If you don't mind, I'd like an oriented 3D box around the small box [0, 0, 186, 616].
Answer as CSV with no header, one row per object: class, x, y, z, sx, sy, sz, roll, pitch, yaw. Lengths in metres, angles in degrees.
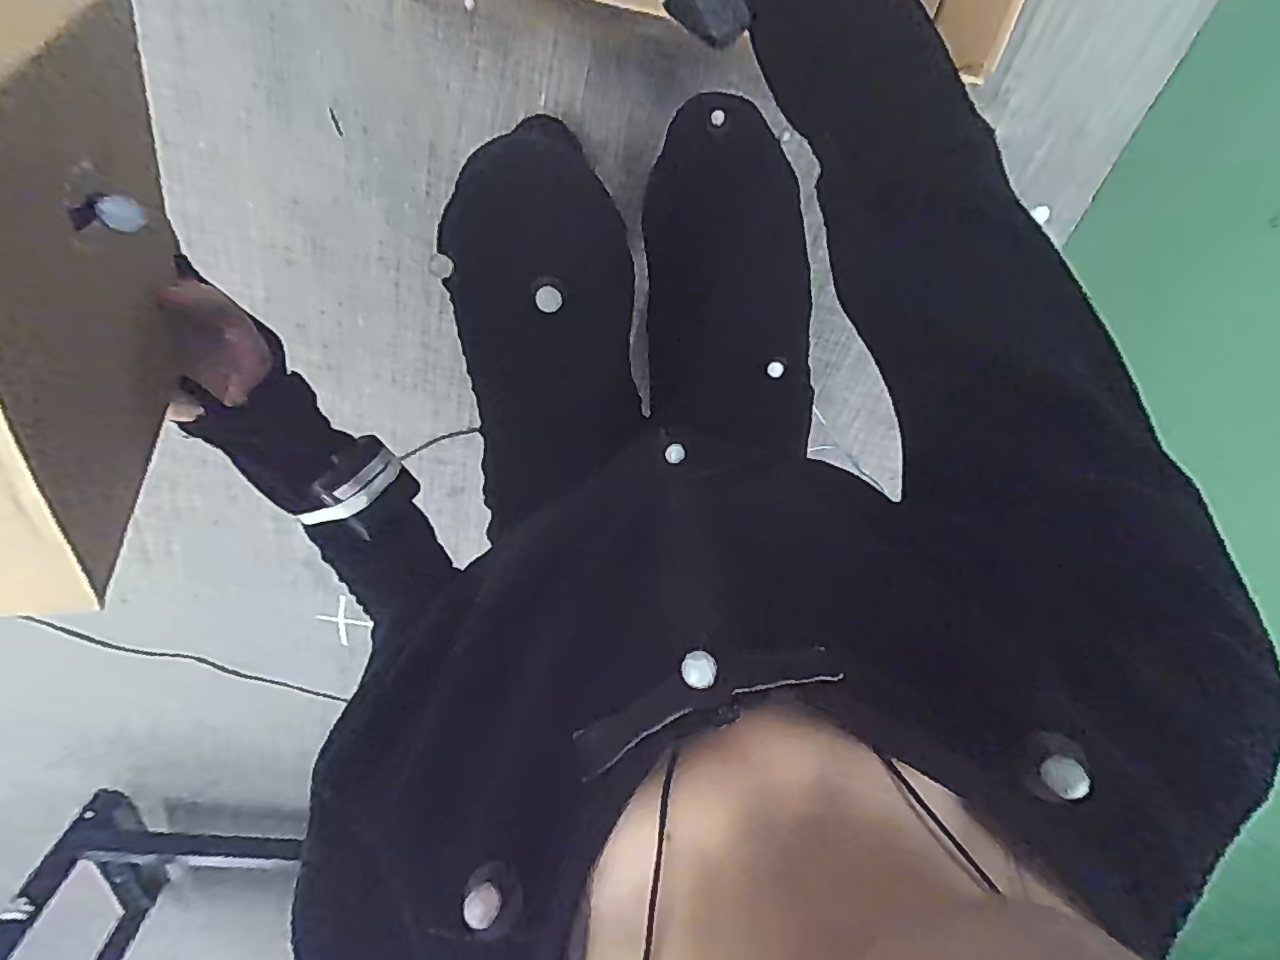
small box,-0.276,-0.069,0.176,0.168,0.176,0.179,5,138,-29
